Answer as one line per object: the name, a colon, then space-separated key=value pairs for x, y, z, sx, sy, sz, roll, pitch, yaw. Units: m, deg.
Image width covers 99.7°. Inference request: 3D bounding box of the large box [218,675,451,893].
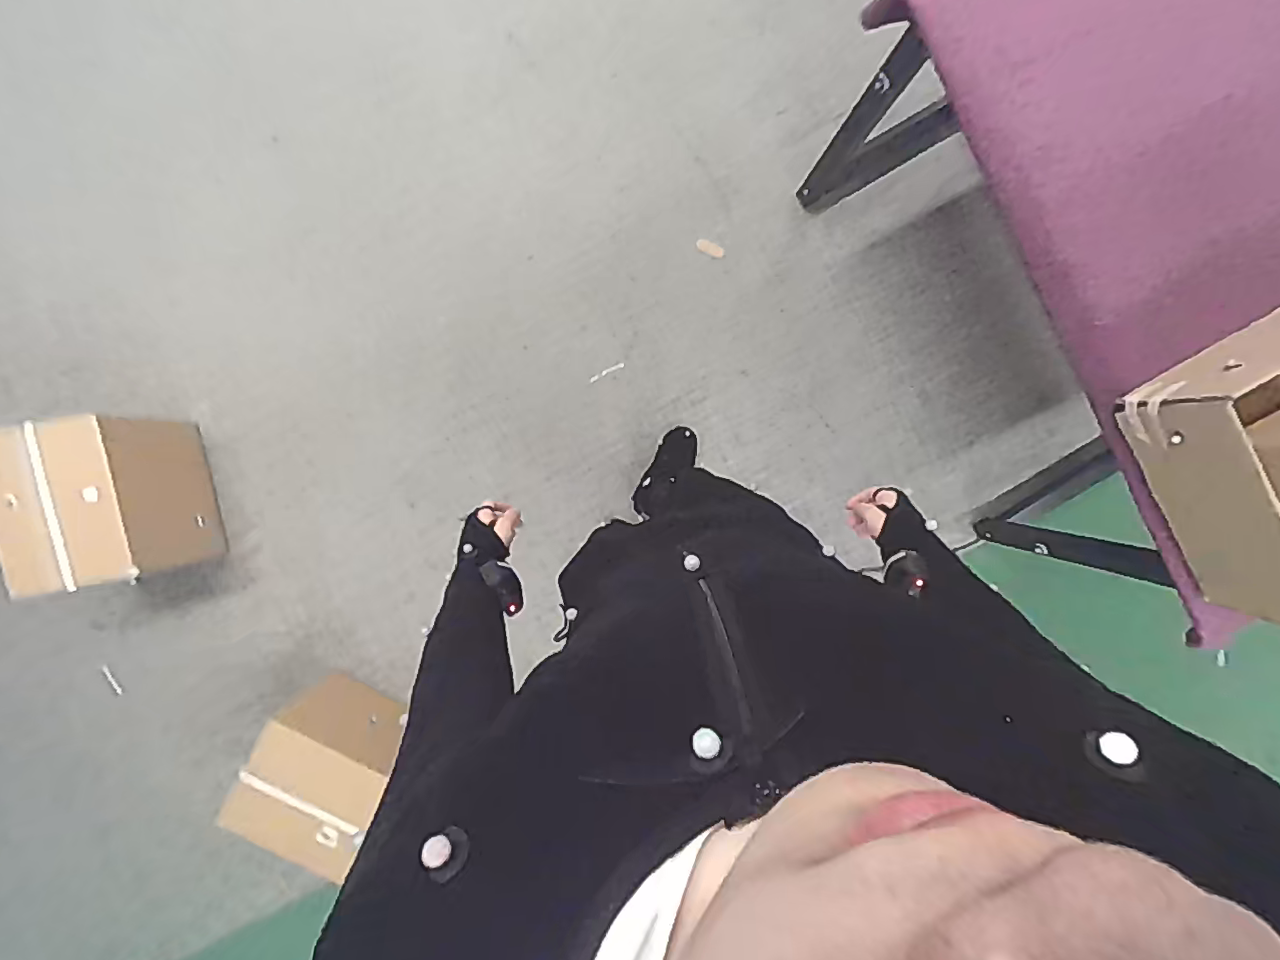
large box: x=-0.813 y=0.812 z=1.496 sx=0.408 sy=0.320 sz=0.320 roll=28 pitch=93 yaw=-4
